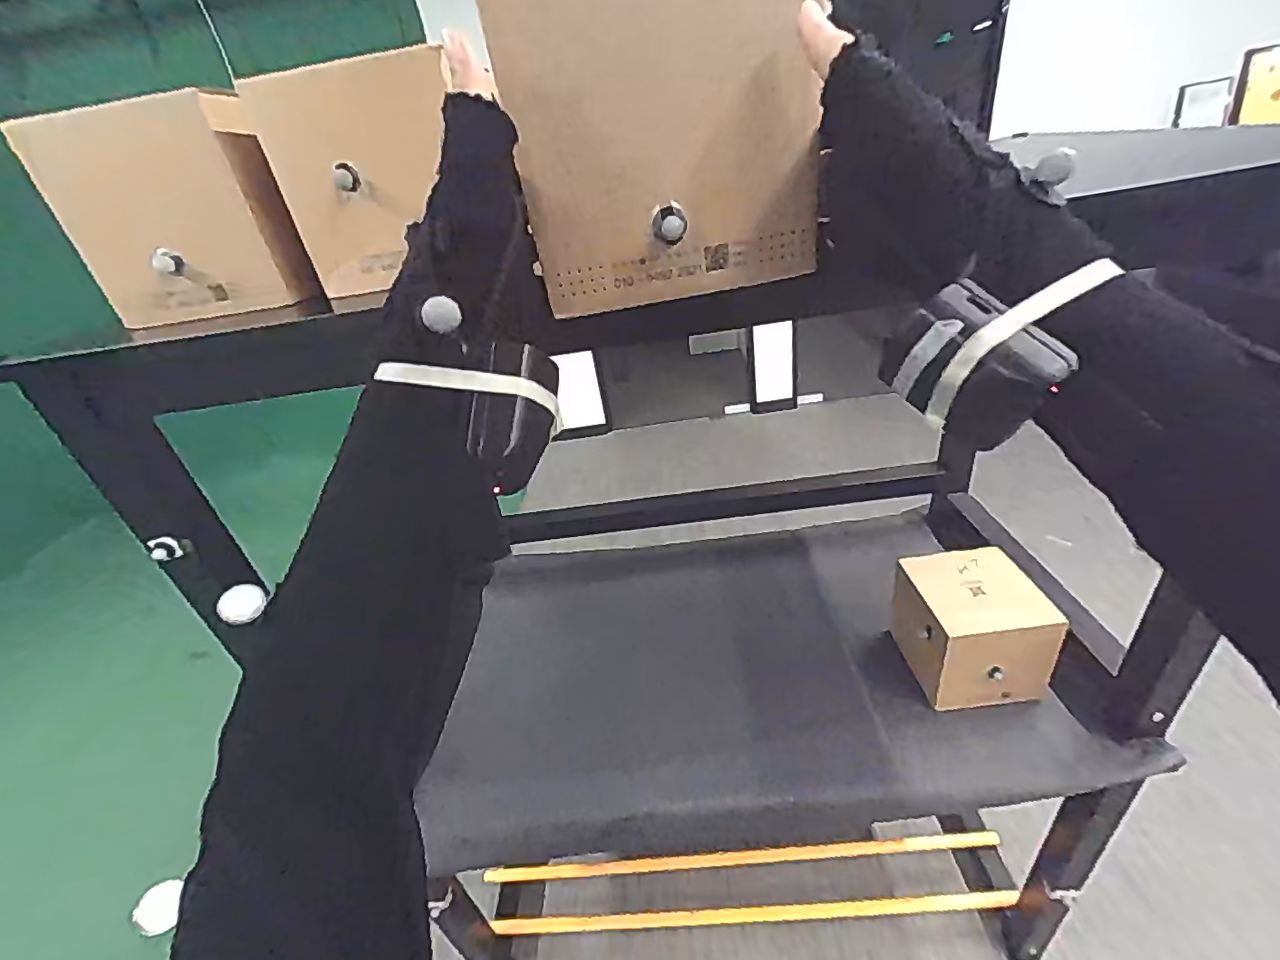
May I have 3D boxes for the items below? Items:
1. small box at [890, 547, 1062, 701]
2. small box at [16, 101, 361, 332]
[{"bbox_3d":[0.523,0.235,0.871,0.168,0.176,0.179,-8,30,3],"label":"small box"},{"bbox_3d":[-0.411,-0.259,0.540,0.168,0.176,0.179,-8,32,4],"label":"small box"}]
